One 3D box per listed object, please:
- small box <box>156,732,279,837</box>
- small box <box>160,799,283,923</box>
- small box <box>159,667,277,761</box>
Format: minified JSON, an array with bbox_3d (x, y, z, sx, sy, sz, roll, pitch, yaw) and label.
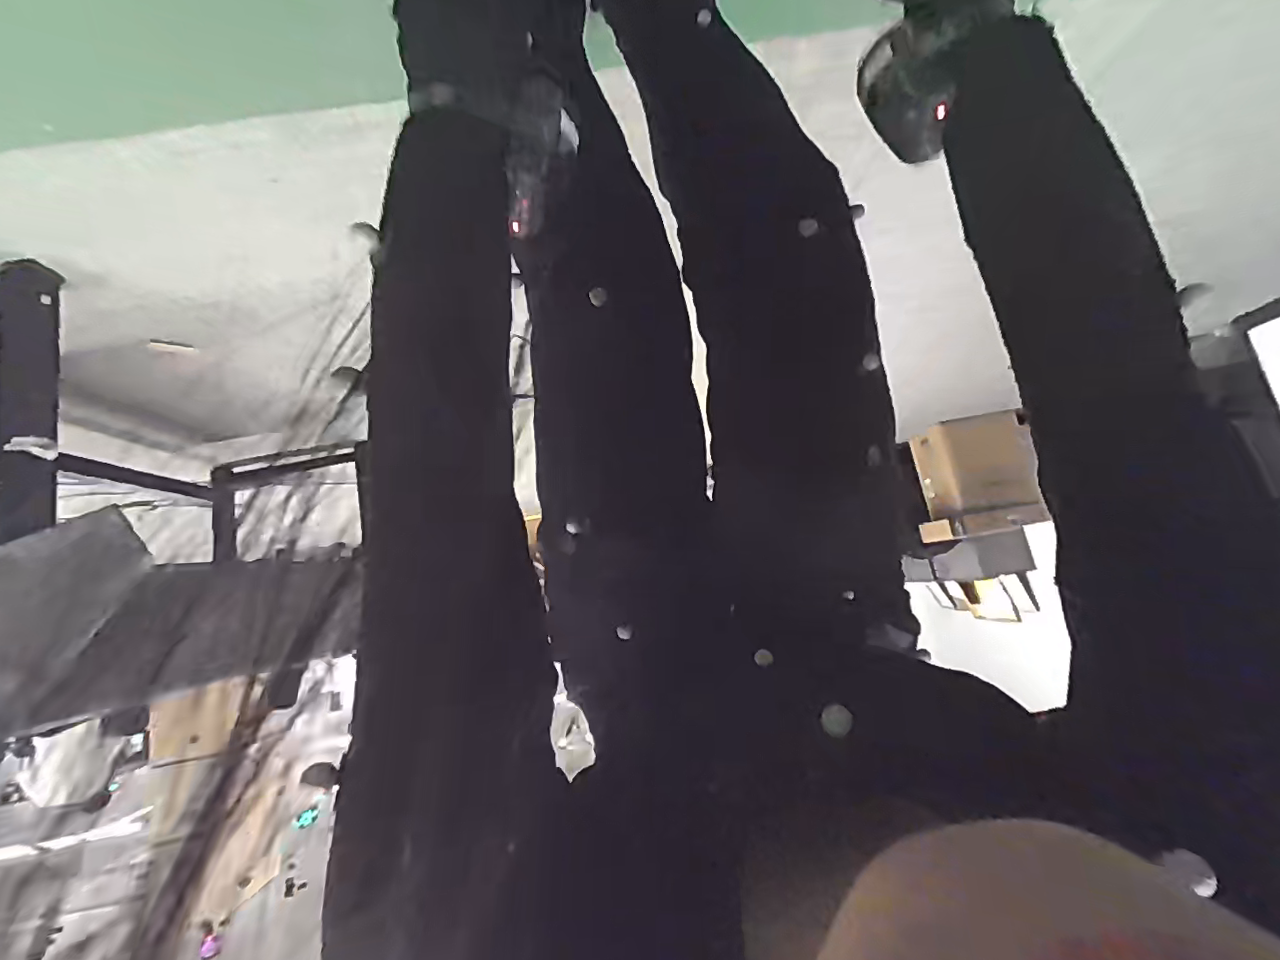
[{"bbox_3d":[-1.010,0.722,1.304,0.179,0.176,0.168,-10,169,-2],"label":"small box"},{"bbox_3d":[-0.977,0.880,1.270,0.168,0.176,0.179,-10,169,-3],"label":"small box"},{"bbox_3d":[-1.039,0.566,1.336,0.179,0.176,0.168,-9,169,-2],"label":"small box"}]
